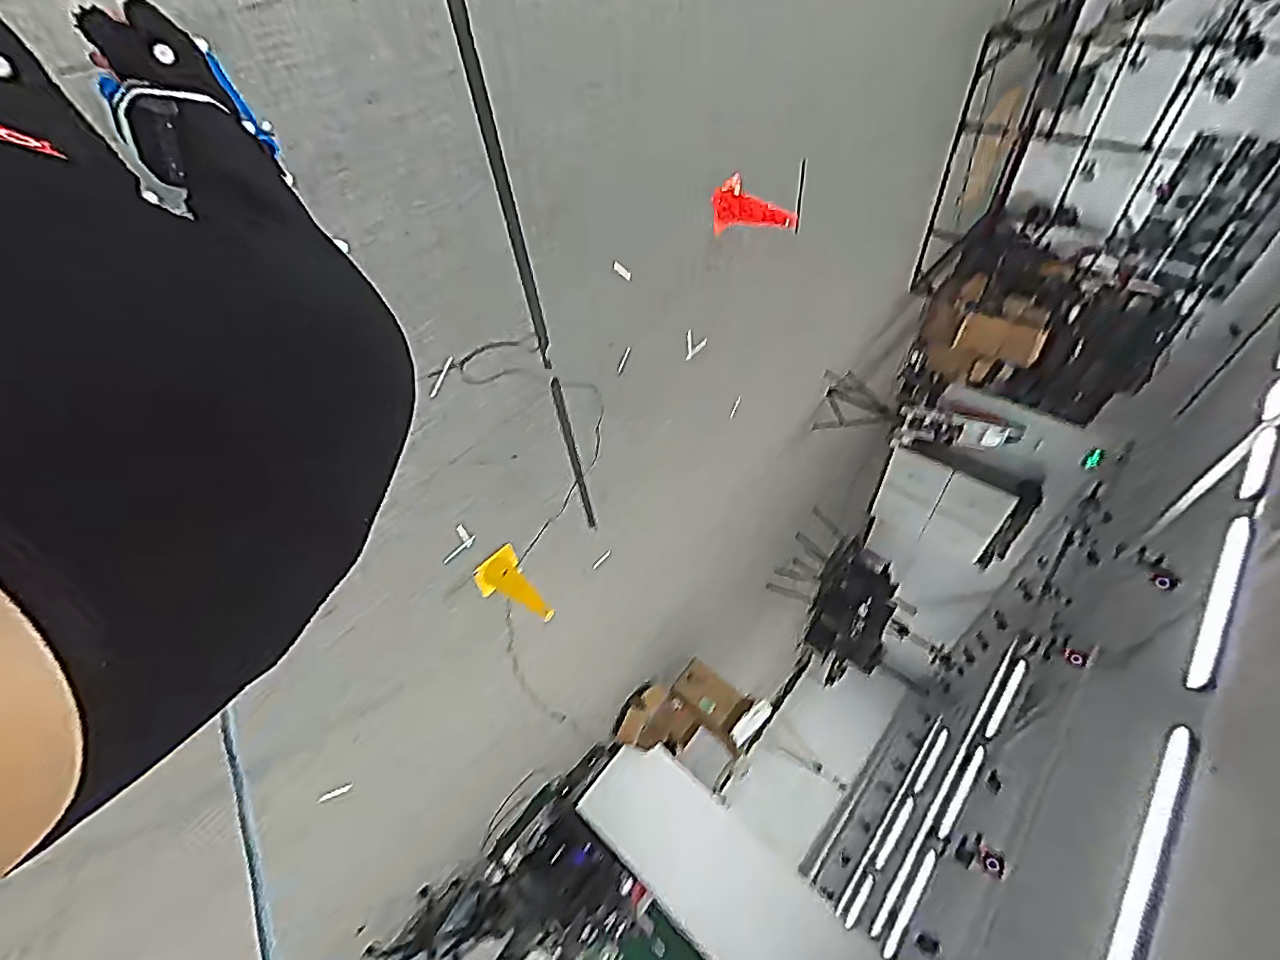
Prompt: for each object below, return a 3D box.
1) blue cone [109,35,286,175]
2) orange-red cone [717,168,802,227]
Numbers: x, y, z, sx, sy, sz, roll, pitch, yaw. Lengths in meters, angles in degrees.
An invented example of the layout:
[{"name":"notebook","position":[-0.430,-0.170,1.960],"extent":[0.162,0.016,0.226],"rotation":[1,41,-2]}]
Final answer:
[{"name":"blue cone","position":[-0.729,-0.631,0.949],"extent":[0.192,0.380,0.193],"rotation":[-46,148,-21]},{"name":"orange-red cone","position":[0.533,-1.190,2.338],"extent":[0.198,0.360,0.199],"rotation":[-46,147,-22]}]
